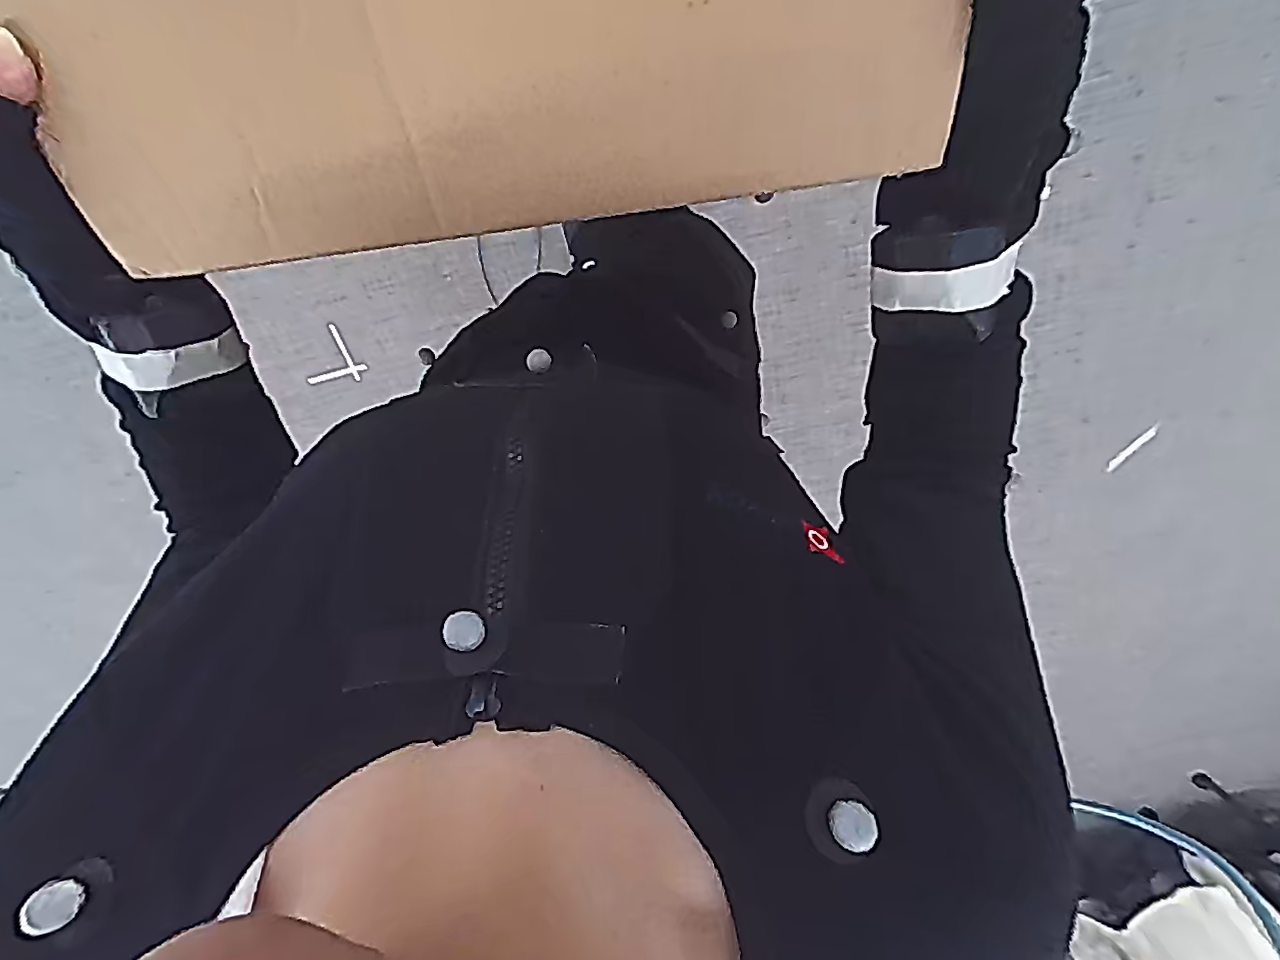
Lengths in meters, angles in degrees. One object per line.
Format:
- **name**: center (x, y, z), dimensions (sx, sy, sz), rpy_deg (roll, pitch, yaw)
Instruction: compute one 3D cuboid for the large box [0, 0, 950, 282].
- **large box**: center (-0.081, -0.341, 0.295), dimensions (0.408, 0.320, 0.320), rpy_deg (-6, 128, 4)
